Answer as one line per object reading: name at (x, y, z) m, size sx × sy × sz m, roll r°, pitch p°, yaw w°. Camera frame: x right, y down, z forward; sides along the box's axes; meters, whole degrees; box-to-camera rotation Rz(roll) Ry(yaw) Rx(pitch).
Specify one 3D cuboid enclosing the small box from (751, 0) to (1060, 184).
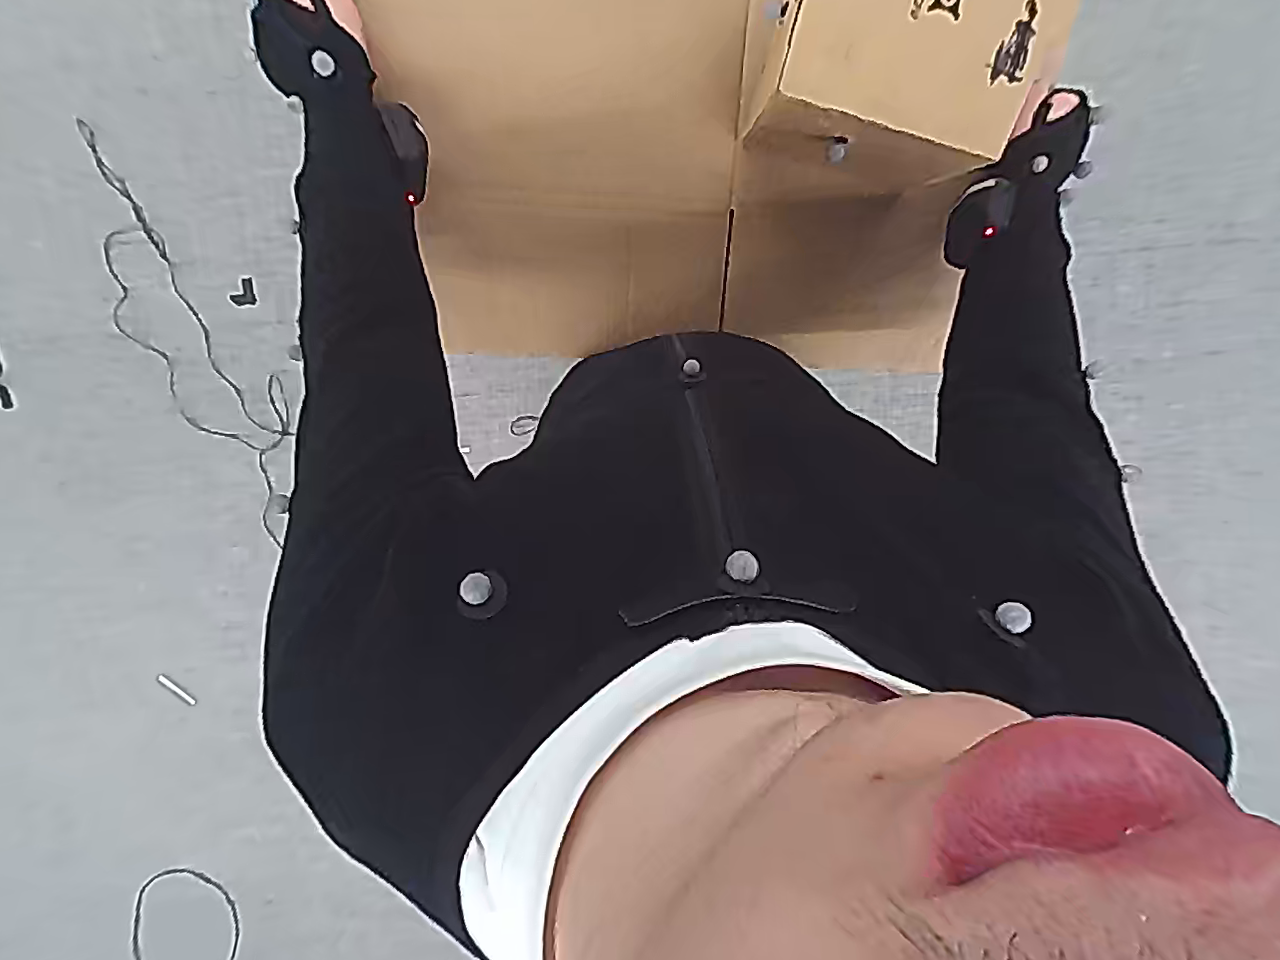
small box at (0.204, -0.364, 0.446) m, size 0.179 × 0.176 × 0.168 m, roll 15°, pitch 111°, yaw -3°
